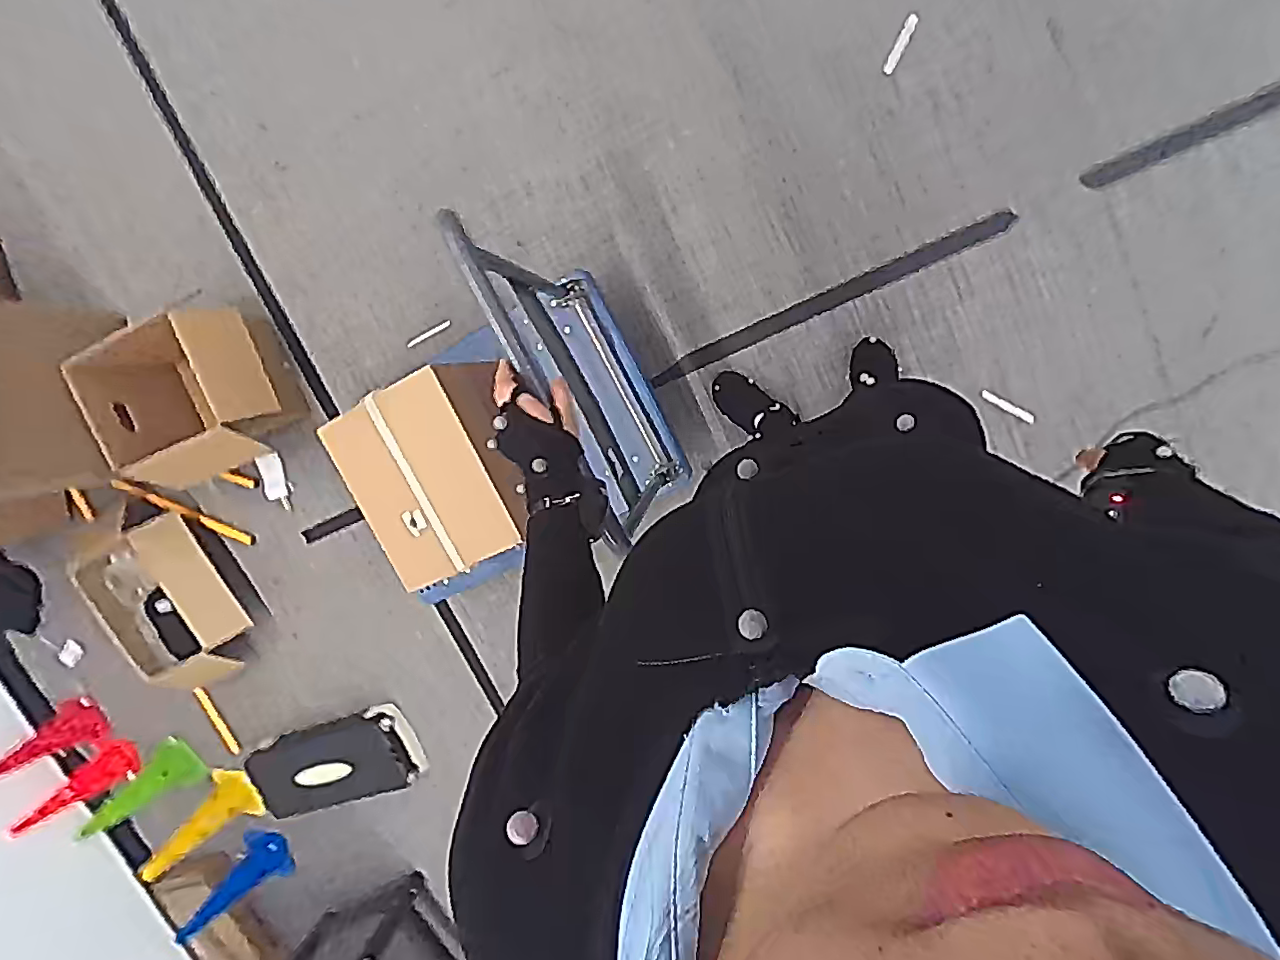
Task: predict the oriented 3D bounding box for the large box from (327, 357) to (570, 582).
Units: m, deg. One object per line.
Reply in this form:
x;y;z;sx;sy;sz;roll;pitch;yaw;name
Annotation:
-0.423;-0.041;1.280;0.320;0.320;0.408;-25;99;16;large box
